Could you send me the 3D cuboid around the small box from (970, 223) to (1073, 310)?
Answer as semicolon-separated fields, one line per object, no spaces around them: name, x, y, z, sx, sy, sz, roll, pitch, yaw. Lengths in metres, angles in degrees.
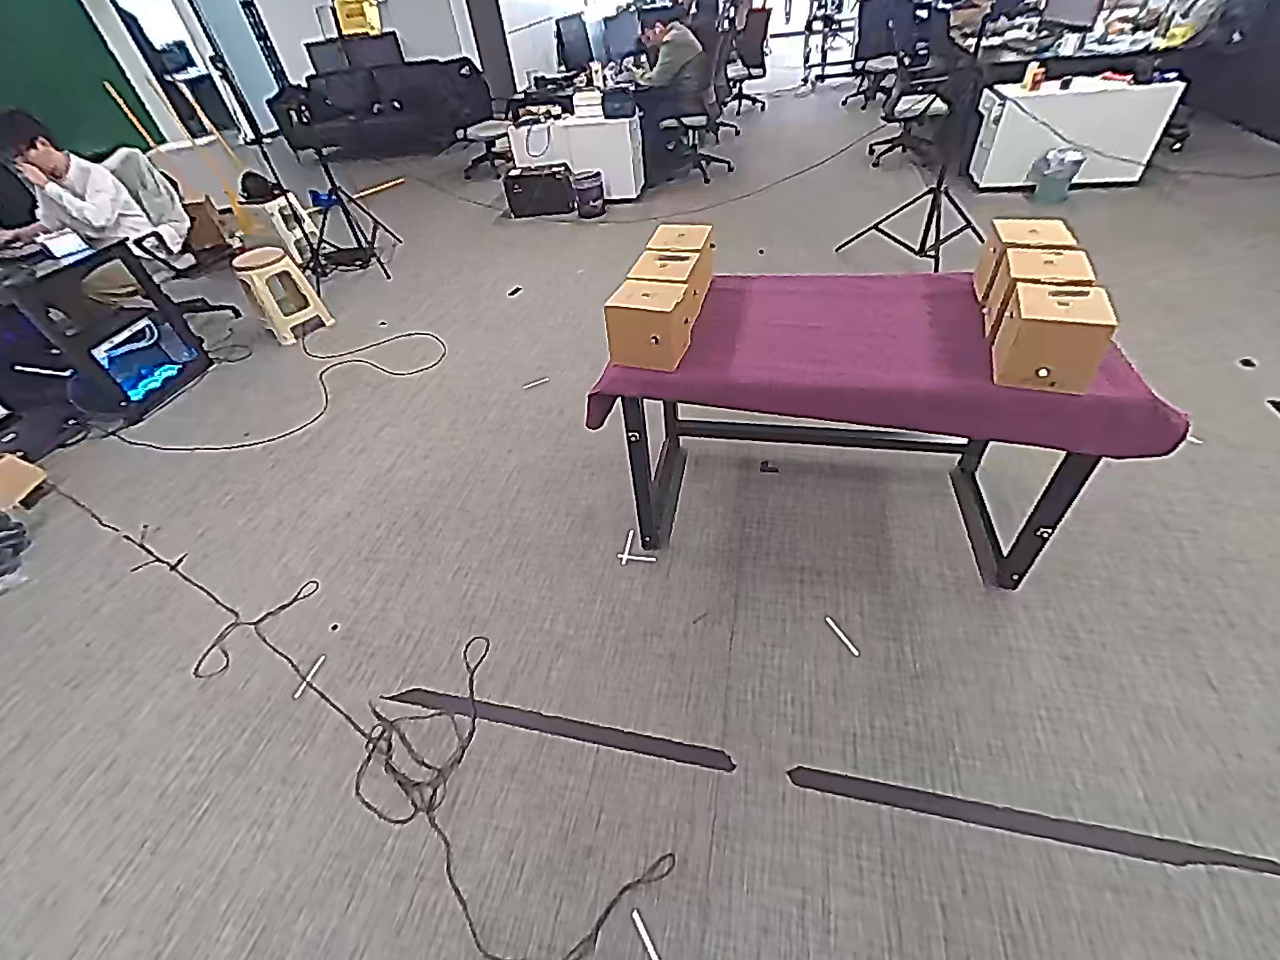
small box;1.015;-0.574;1.458;0.168;0.176;0.179;8;45;15

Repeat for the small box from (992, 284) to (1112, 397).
small box;0.901;-0.311;1.199;0.168;0.176;0.179;12;51;23

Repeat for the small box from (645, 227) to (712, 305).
small box;0.122;-0.656;1.657;0.168;0.176;0.179;8;47;15
